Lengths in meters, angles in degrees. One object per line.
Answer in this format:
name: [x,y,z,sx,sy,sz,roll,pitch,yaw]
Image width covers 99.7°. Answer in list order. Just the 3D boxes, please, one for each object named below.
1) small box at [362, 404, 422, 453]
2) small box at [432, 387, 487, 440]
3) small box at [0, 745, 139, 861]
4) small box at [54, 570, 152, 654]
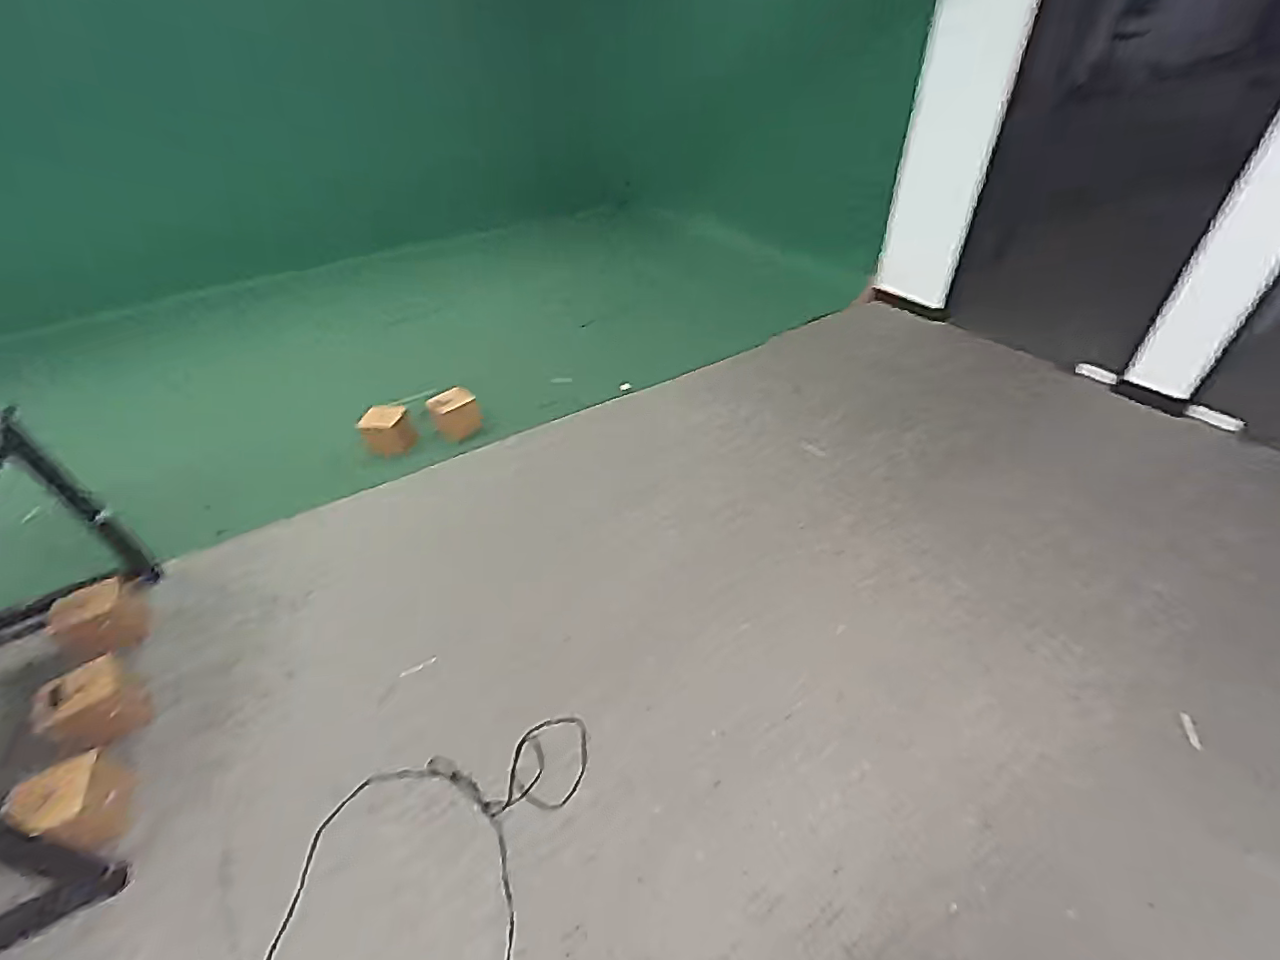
small box: [-1.155,-0.238,2.536,0.179,0.176,0.168,0,40,6]
small box: [-0.866,-0.318,2.604,0.168,0.176,0.179,31,51,33]
small box: [-1.421,0.810,1.357,0.179,0.176,0.168,-20,44,-17]
small box: [-1.778,0.440,1.803,0.179,0.176,0.168,-26,45,-24]
